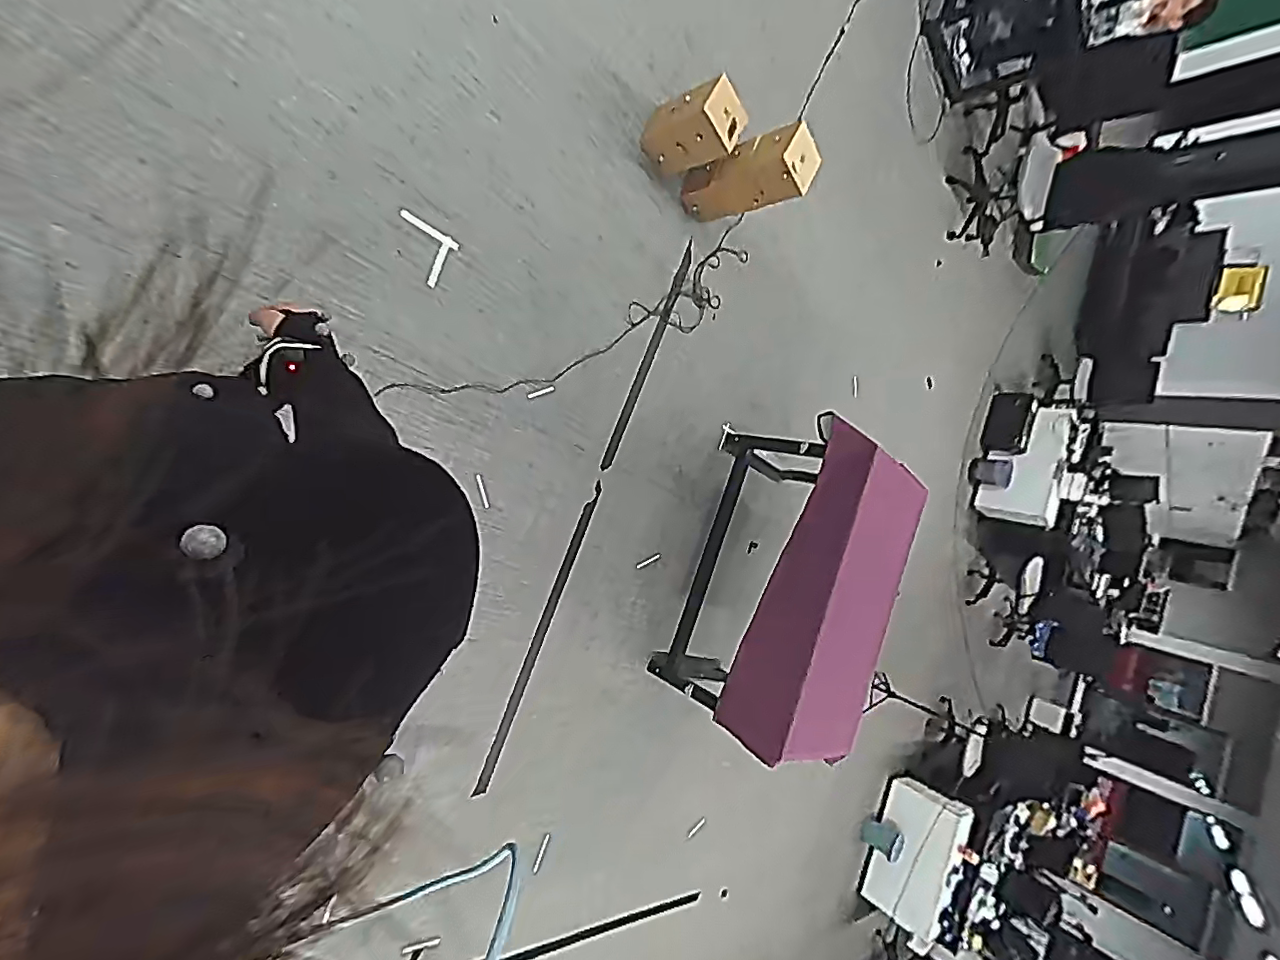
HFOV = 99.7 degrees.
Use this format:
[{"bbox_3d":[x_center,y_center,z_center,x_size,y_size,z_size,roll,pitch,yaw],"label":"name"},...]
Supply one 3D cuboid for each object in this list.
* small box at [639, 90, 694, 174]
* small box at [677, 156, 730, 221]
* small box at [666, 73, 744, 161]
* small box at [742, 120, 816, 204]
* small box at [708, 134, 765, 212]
[{"bbox_3d":[0.123,-1.272,1.986,0.168,0.176,0.179,33,77,-41],"label":"small box"},{"bbox_3d":[0.275,-1.169,2.151,0.168,0.176,0.179,27,81,-42],"label":"small box"},{"bbox_3d":[0.222,-1.235,1.860,0.179,0.176,0.168,38,73,-40],"label":"small box"},{"bbox_3d":[0.489,-1.117,1.910,0.168,0.176,0.179,39,72,-40],"label":"small box"},{"bbox_3d":[0.383,-1.143,2.032,0.179,0.176,0.168,29,79,-42],"label":"small box"}]
